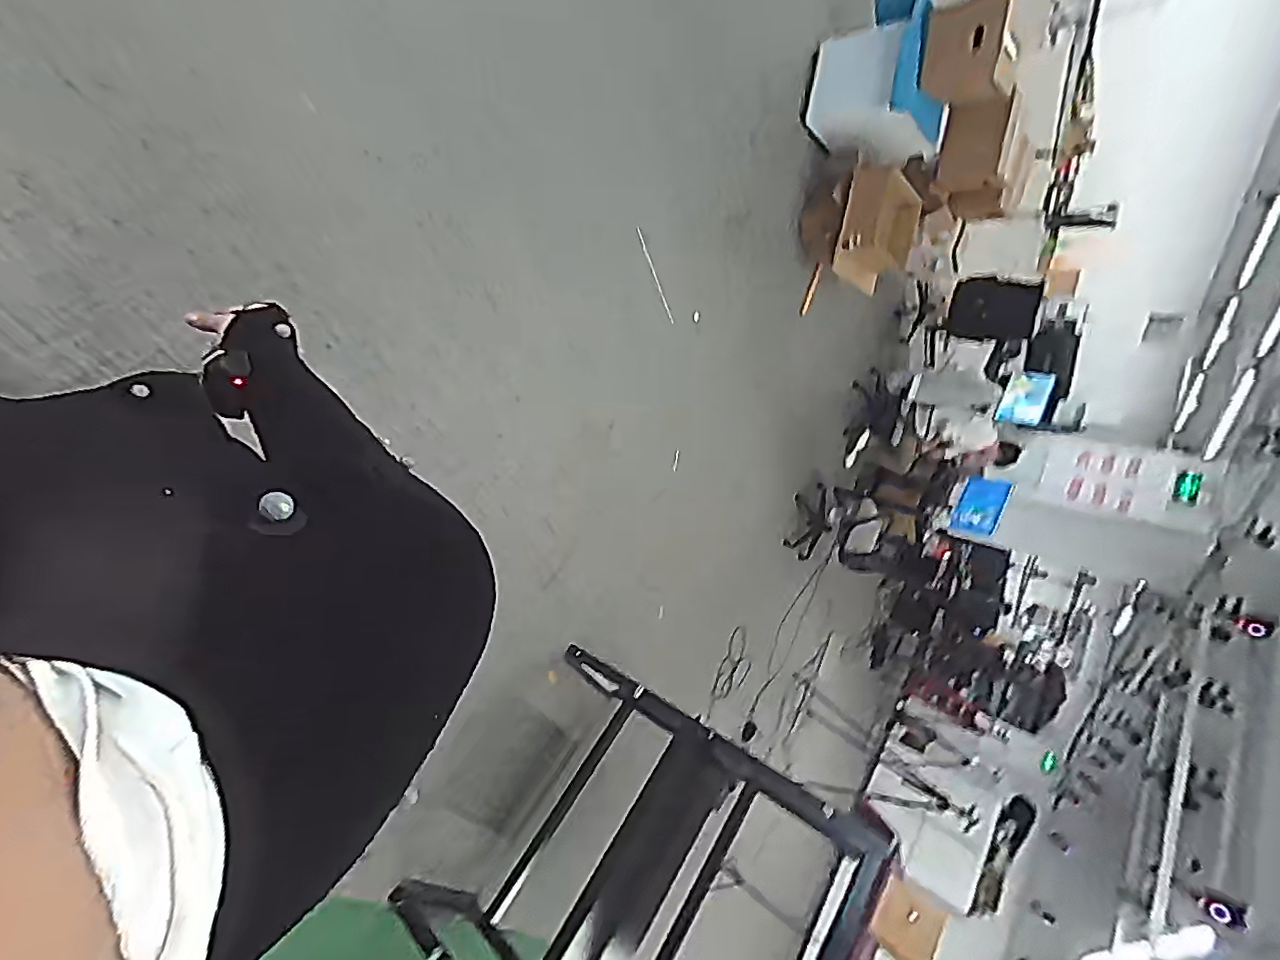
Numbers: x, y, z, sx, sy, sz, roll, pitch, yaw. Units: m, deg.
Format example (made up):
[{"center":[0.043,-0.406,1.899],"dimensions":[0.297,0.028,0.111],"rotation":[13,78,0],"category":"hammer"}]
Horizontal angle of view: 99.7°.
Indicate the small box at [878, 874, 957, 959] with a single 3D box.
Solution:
[{"center":[0.815,1.308,1.596],"dimensions":[0.168,0.176,0.179],"rotation":[-50,138,-26],"category":"small box"}]
